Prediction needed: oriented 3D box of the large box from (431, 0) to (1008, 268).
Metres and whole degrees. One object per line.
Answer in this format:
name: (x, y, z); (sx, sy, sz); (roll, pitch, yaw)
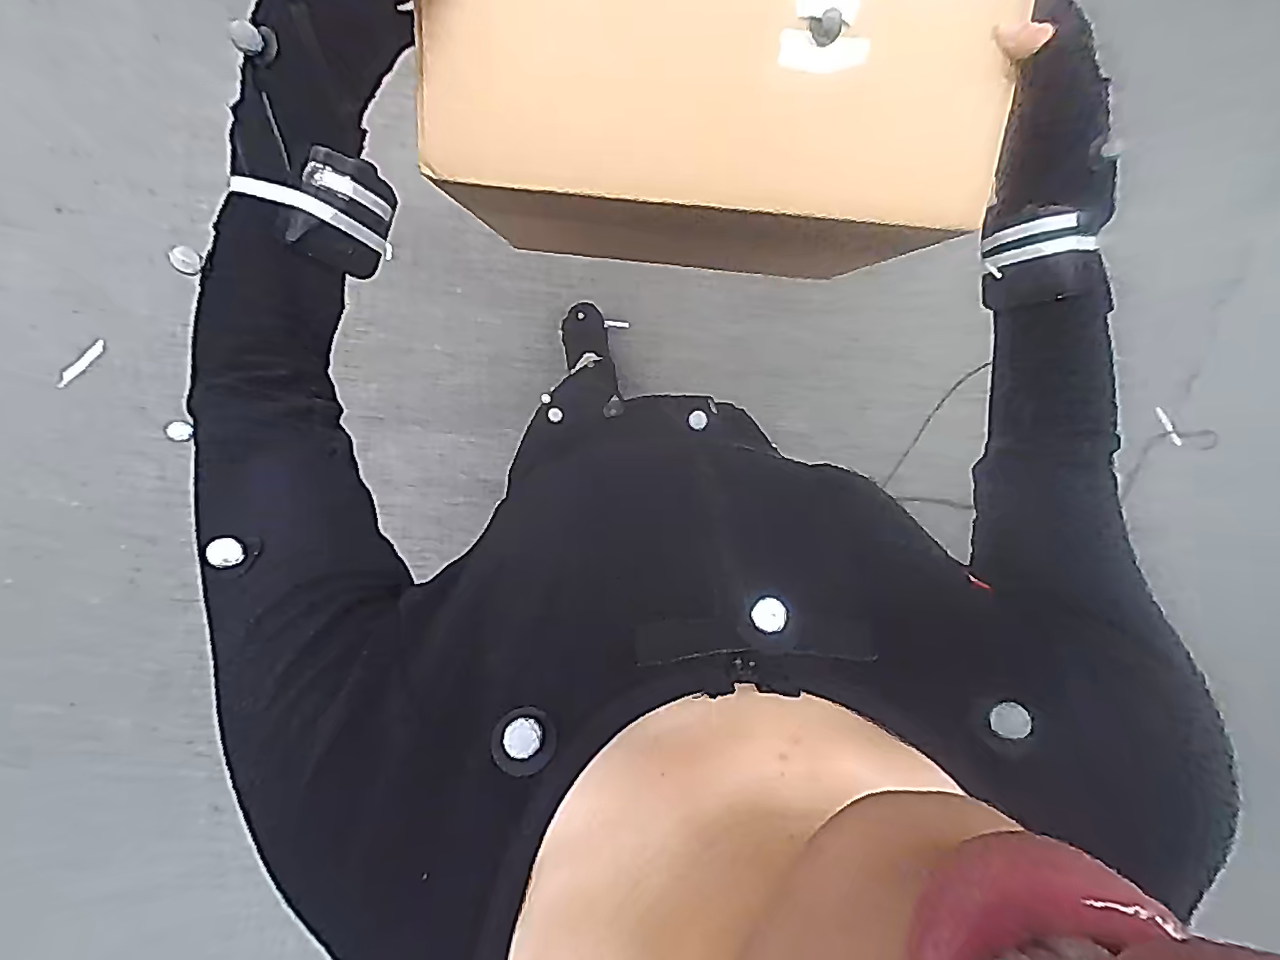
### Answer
large box: (0.053, -0.395, 0.507); (0.408, 0.320, 0.320); (4, 105, -3)
